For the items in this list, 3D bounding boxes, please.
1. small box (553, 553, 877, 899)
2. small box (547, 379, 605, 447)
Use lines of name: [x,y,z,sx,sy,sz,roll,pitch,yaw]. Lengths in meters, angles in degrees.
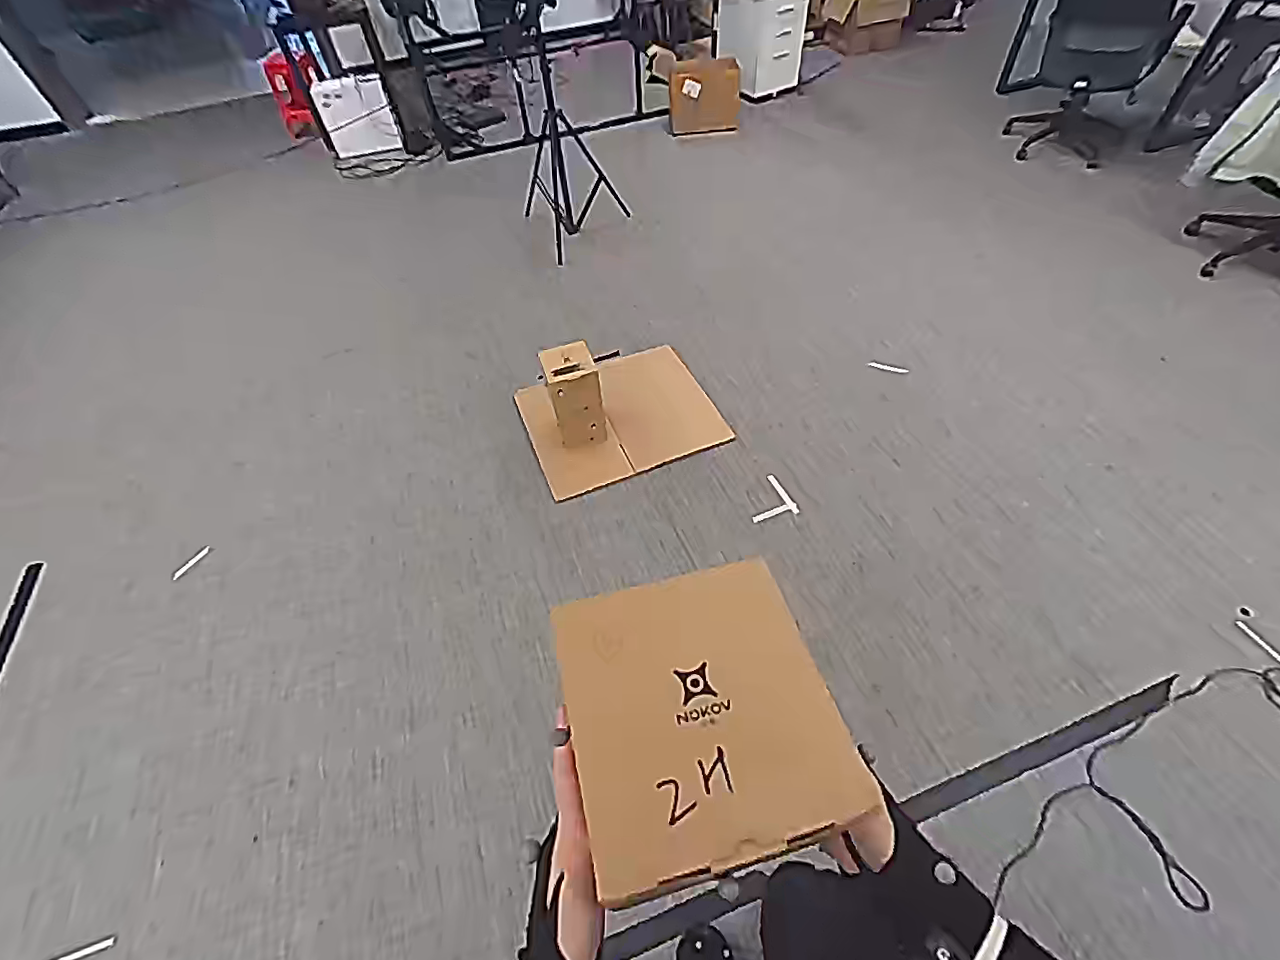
small box: [0.036,0.185,0.407,0.168,0.176,0.179,-12,52,-9]
small box: [-0.231,-0.238,1.981,0.168,0.176,0.179,-16,52,-10]
